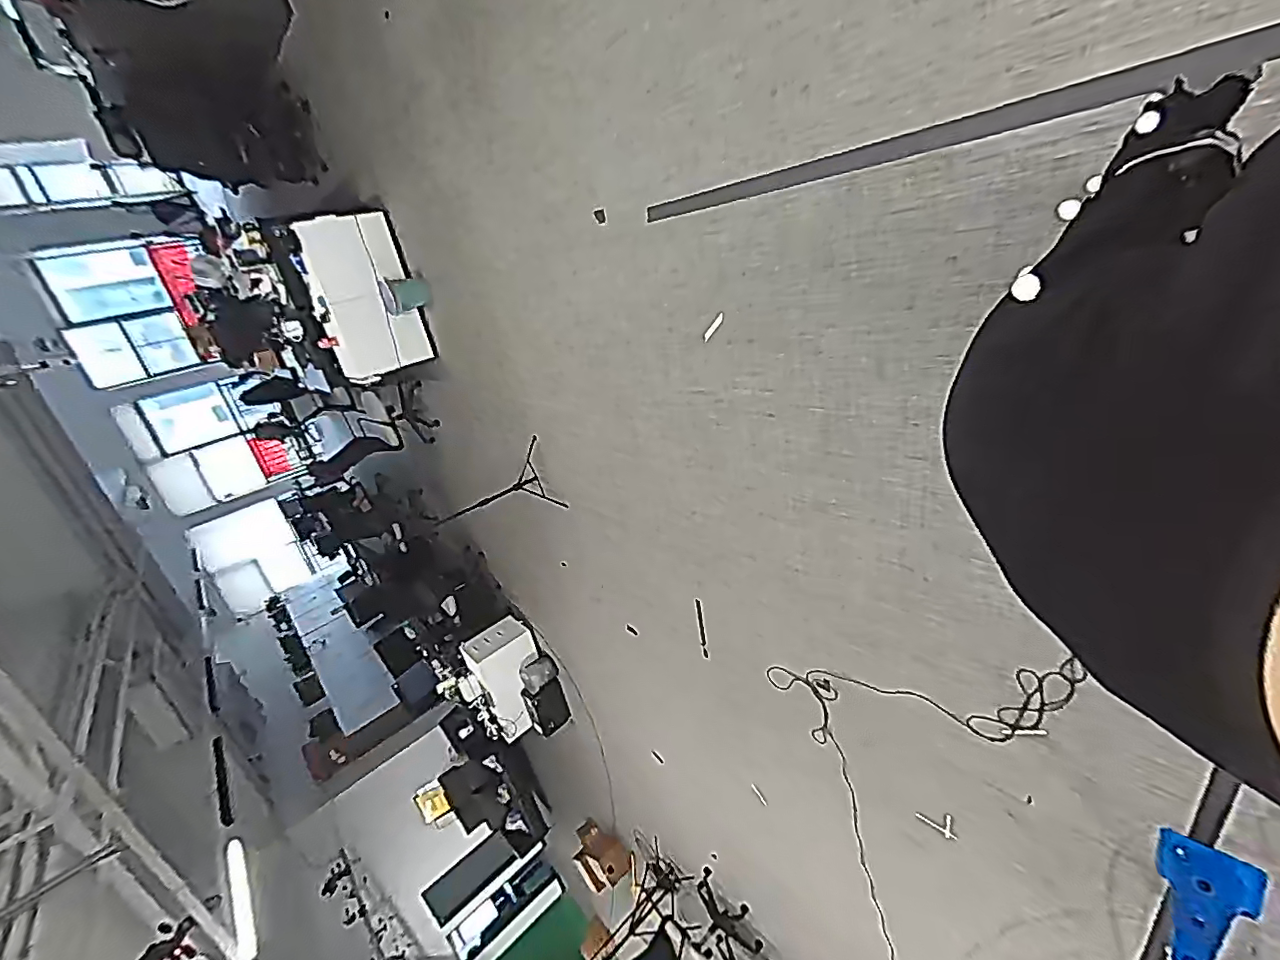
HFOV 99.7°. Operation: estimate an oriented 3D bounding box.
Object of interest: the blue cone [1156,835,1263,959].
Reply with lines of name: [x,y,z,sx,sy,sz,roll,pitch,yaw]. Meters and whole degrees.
blue cone: [1.403,1.124,1.358,0.192,0.380,0.193,11,123,48]
